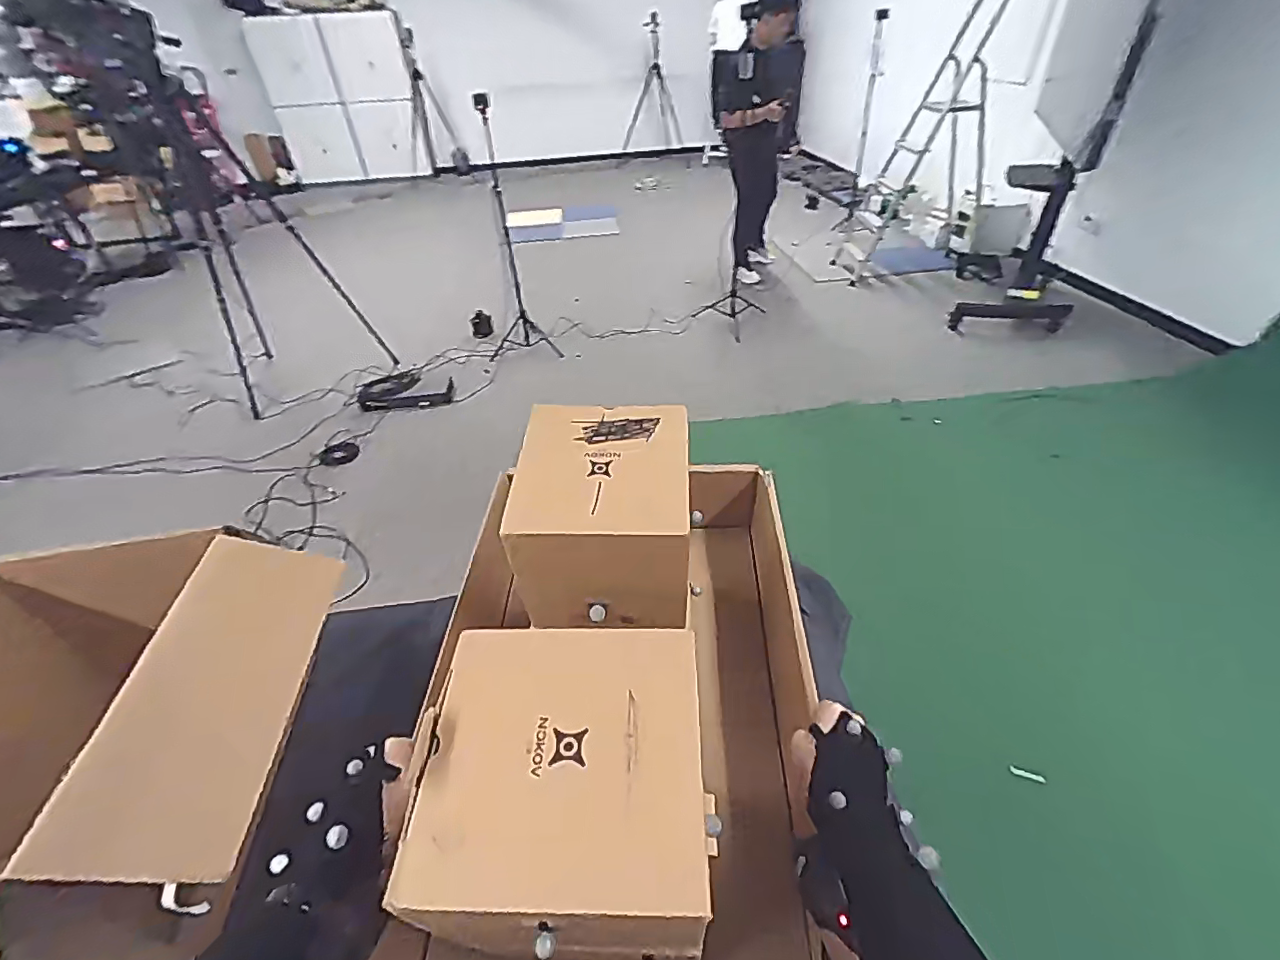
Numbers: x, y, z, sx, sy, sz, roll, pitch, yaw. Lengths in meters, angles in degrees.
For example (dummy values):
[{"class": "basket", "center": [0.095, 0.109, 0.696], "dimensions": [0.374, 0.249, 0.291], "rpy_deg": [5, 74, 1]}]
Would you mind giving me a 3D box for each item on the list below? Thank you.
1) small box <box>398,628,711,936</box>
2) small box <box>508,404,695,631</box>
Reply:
[{"class": "small box", "center": [-0.042, 0.226, 0.403], "dimensions": [0.179, 0.176, 0.168], "rpy_deg": [0, 46, 2]}, {"class": "small box", "center": [-0.028, 0.040, 0.577], "dimensions": [0.168, 0.176, 0.179], "rpy_deg": [1, 48, 4]}]
